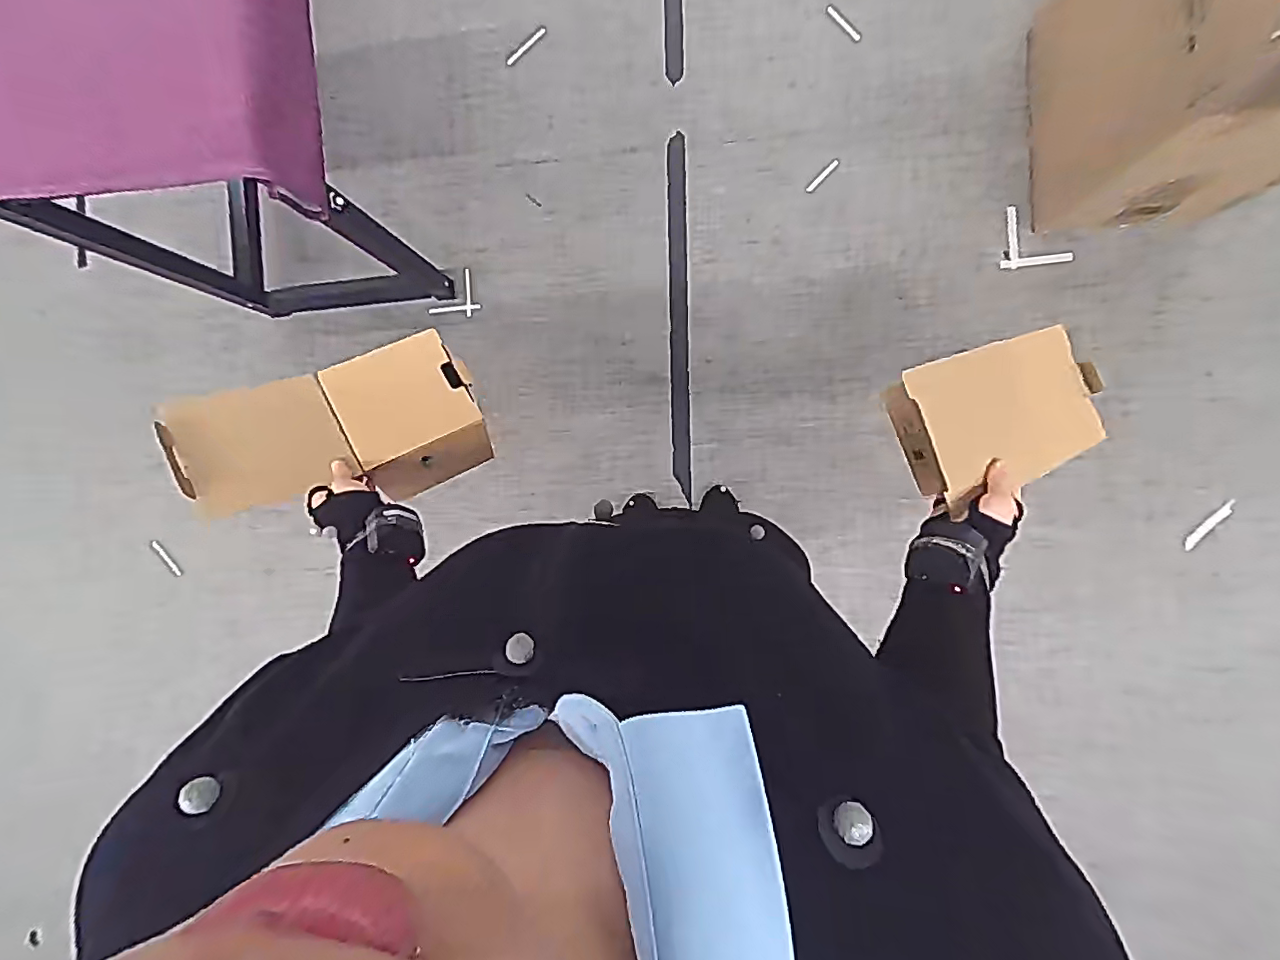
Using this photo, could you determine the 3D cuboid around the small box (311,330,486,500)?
[{"bbox_3d":[-0.348,-0.089,0.815,0.179,0.176,0.168,-27,81,-19],"label":"small box"}]
